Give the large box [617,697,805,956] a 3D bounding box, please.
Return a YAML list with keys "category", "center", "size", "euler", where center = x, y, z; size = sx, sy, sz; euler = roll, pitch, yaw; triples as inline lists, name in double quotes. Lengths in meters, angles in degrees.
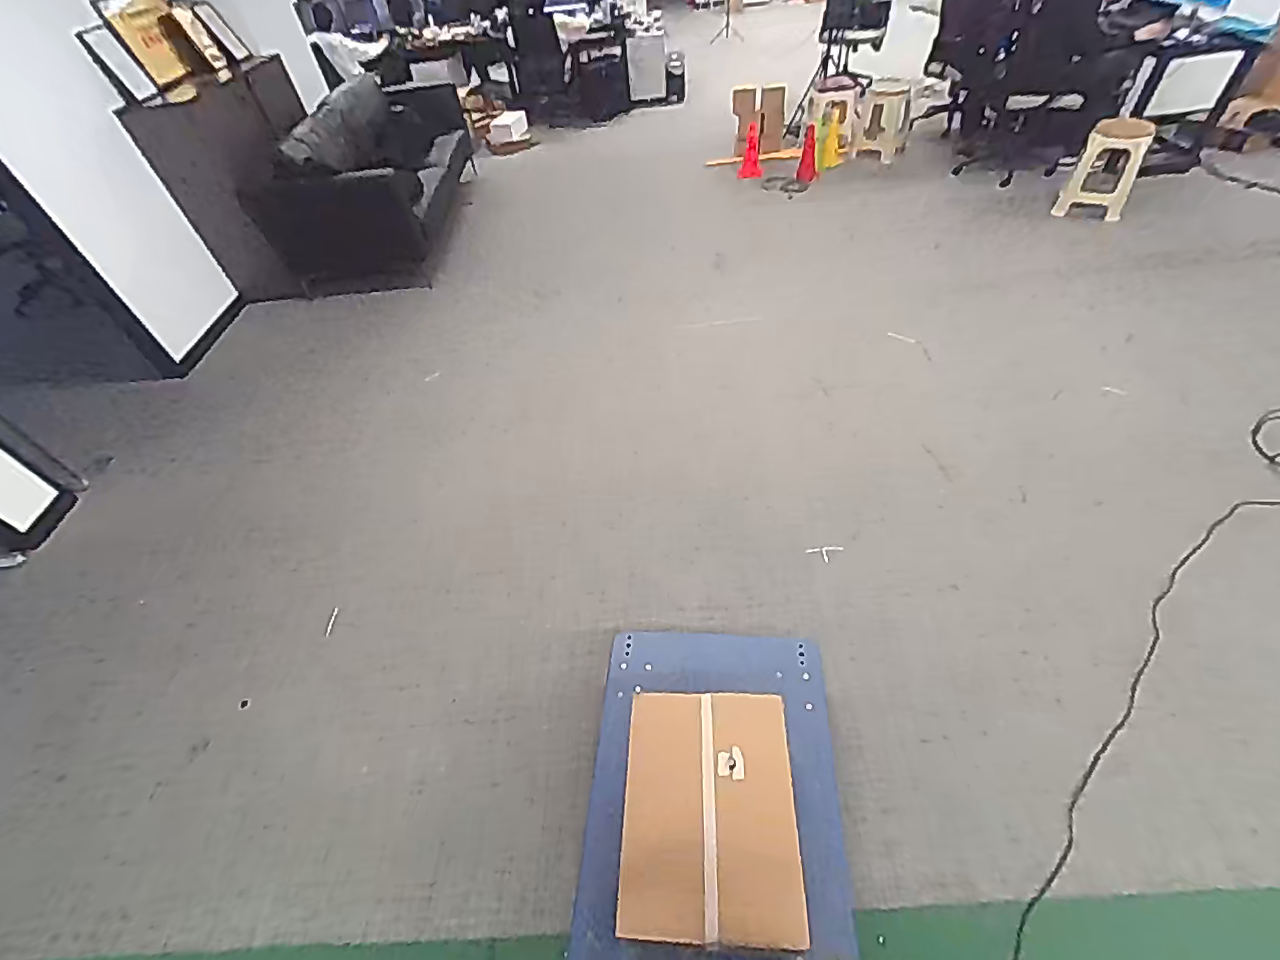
- category: "large box"
  center: [0.139, 0.710, 1.118]
  size: [0.320, 0.320, 0.408]
  euler: [-1, 47, 6]
